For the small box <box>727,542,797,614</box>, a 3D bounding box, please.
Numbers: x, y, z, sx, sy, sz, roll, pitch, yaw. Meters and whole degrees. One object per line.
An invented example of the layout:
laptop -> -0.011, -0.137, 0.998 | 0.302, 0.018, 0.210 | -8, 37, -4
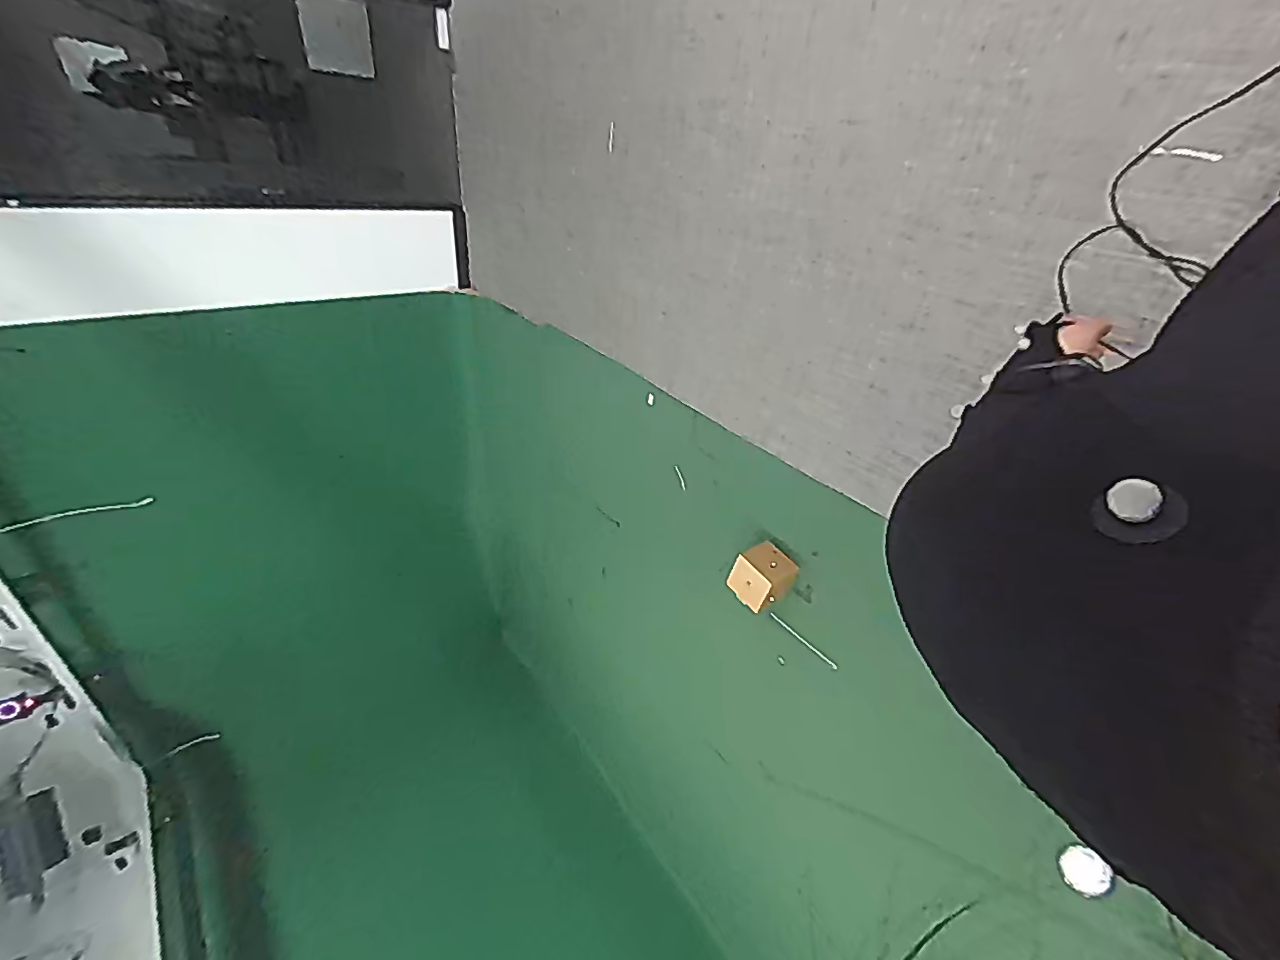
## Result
small box -> 0.462, 0.361, 2.033 | 0.168, 0.176, 0.179 | 44, 137, 32
